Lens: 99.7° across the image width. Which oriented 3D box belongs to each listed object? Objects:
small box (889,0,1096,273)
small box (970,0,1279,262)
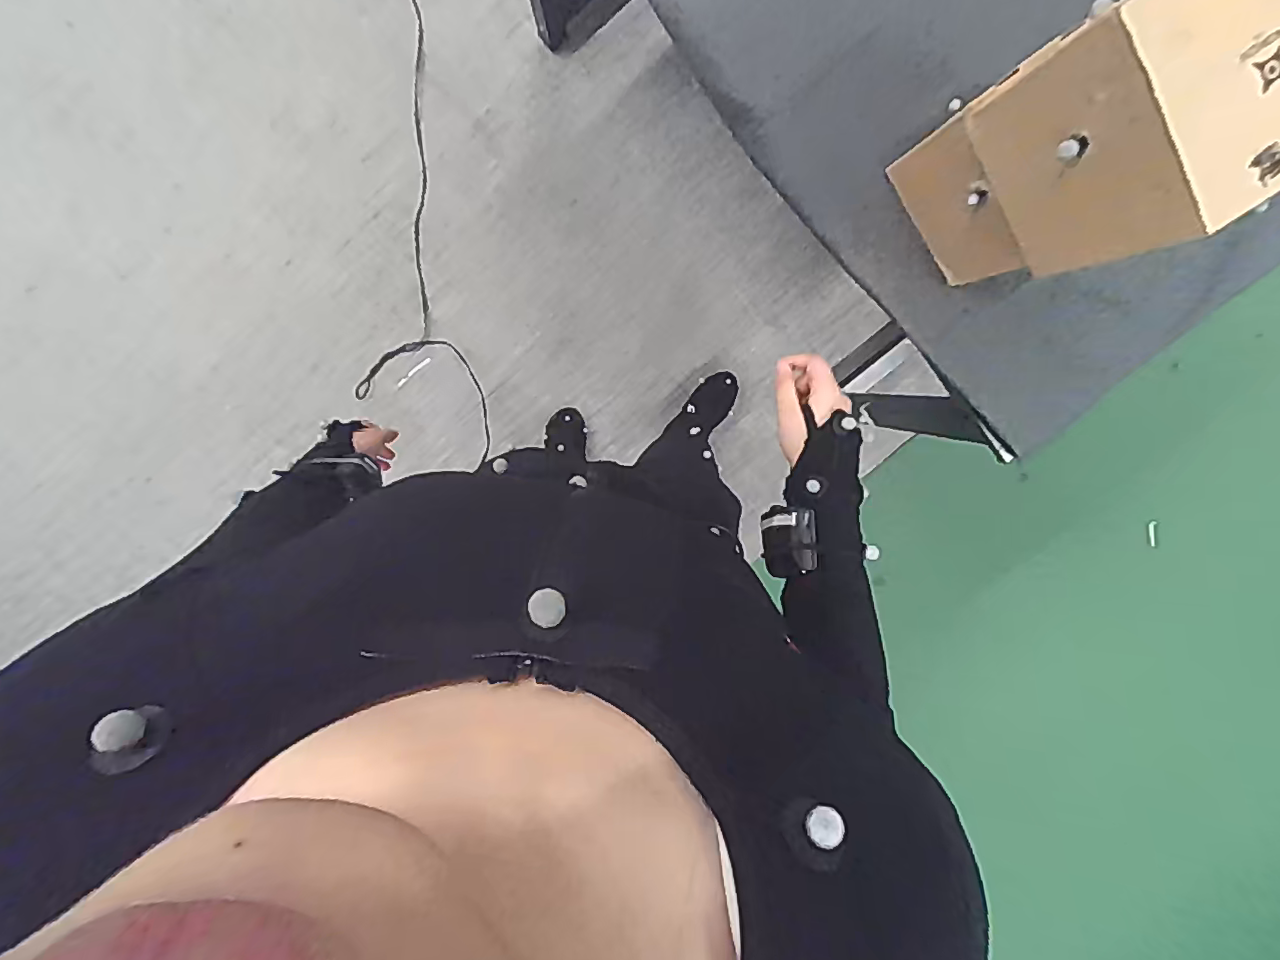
[{"bbox_3d":[0.421,-0.363,0.608,0.168,0.176,0.179,-36,101,4],"label":"small box"},{"bbox_3d":[0.423,-0.314,0.450,0.168,0.176,0.179,-33,100,3],"label":"small box"}]
